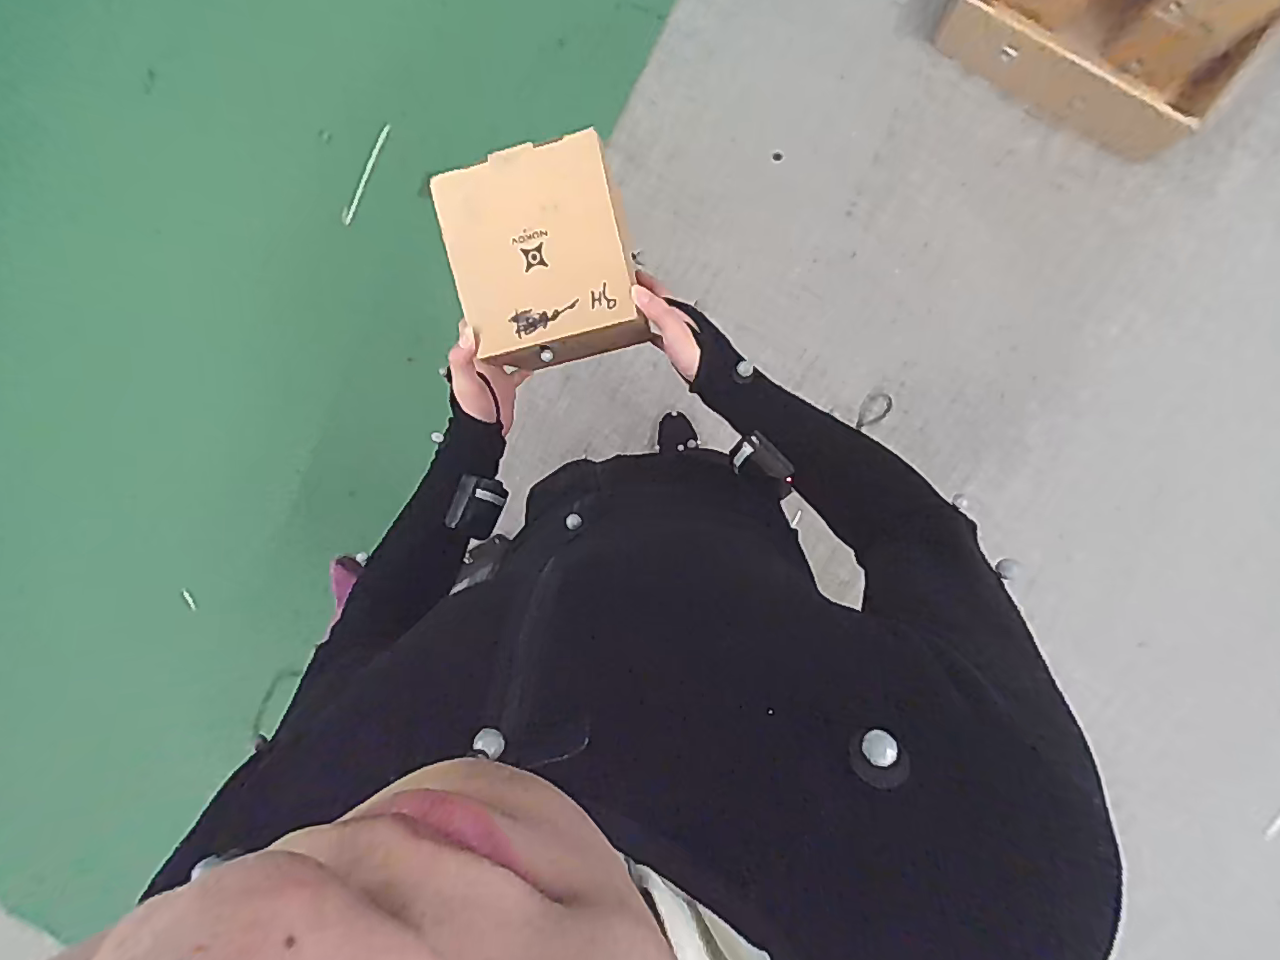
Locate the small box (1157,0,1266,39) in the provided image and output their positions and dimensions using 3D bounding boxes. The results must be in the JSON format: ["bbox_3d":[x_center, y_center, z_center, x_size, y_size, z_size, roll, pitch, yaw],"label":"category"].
[{"bbox_3d":[1.151,-1.004,1.025,0.168,0.176,0.179,35,99,5],"label":"small box"}]

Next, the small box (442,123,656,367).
[{"bbox_3d":[-0.081,-0.228,0.576,0.168,0.176,0.179,-11,96,7],"label":"small box"}]

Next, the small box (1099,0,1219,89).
[{"bbox_3d":[1.178,-1.022,1.186,0.168,0.176,0.179,33,101,5],"label":"small box"}]
